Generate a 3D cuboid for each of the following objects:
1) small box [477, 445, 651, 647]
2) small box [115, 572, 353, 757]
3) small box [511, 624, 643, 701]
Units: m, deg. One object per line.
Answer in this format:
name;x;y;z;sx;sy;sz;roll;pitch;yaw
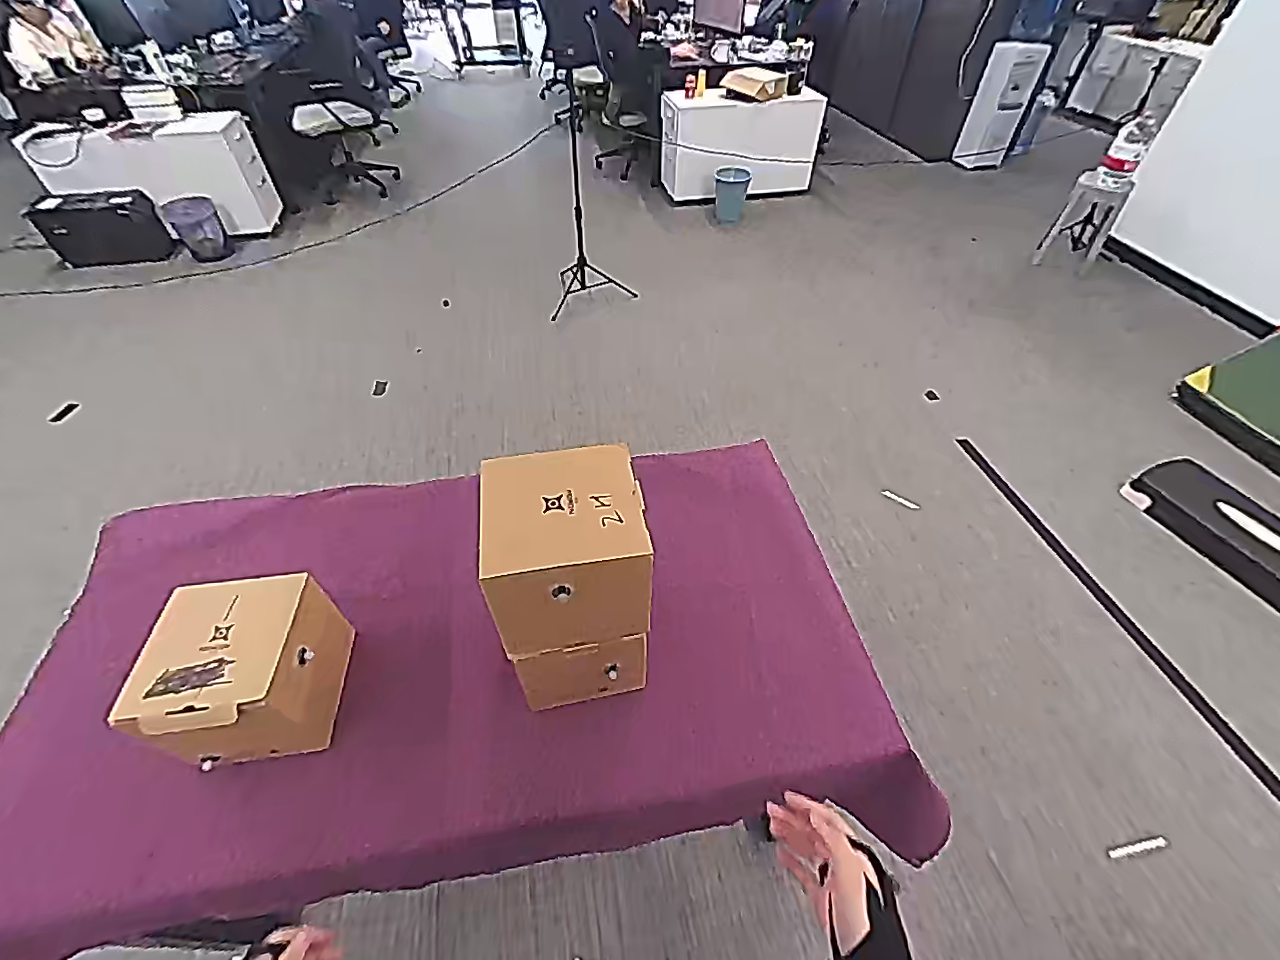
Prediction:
small box;-0.086;0.082;0.646;0.179;0.176;0.168;-7;48;-8
small box;-0.506;0.246;0.712;0.168;0.176;0.179;-5;47;-6
small box;-0.089;0.194;0.766;0.168;0.176;0.179;-8;47;-8
